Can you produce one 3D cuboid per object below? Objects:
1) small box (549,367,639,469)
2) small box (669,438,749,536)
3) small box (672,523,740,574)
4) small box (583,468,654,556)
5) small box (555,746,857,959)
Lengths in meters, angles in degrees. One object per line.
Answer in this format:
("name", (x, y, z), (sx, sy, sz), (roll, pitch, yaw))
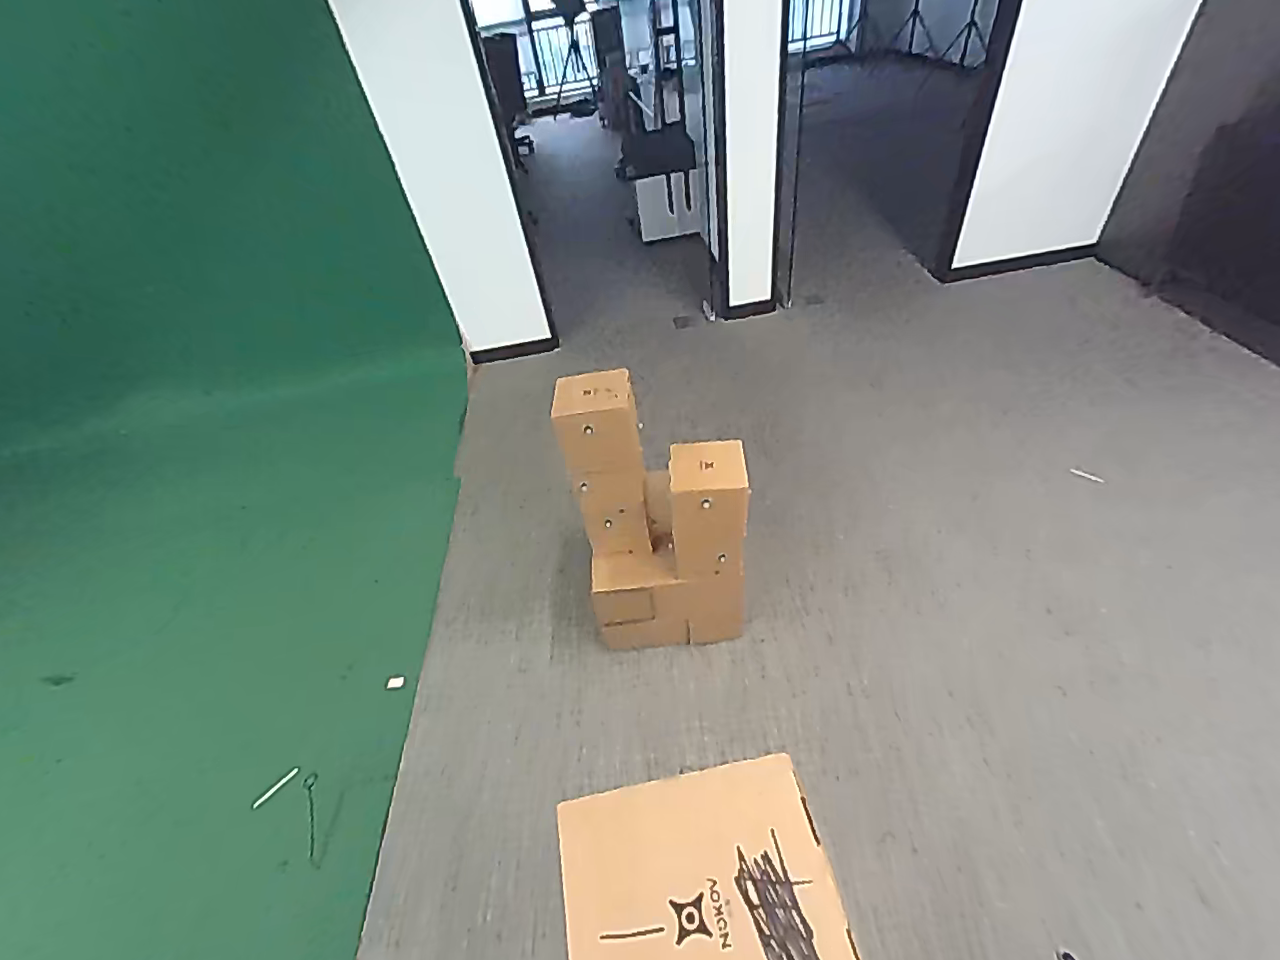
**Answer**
("small box", (-0.100, -0.142, 1.272), (0.179, 0.176, 0.168), (-7, 43, 5))
("small box", (0.163, 0.020, 1.294), (0.179, 0.176, 0.168), (-4, 43, 6))
("small box", (0.172, 0.133, 1.411), (0.168, 0.176, 0.179), (-4, 42, 5))
("small box", (-0.054, 0.089, 1.504), (0.168, 0.176, 0.179), (-6, 42, 6))
("small box", (0.041, 0.323, 0.403), (0.179, 0.176, 0.168), (-11, 48, -4))
